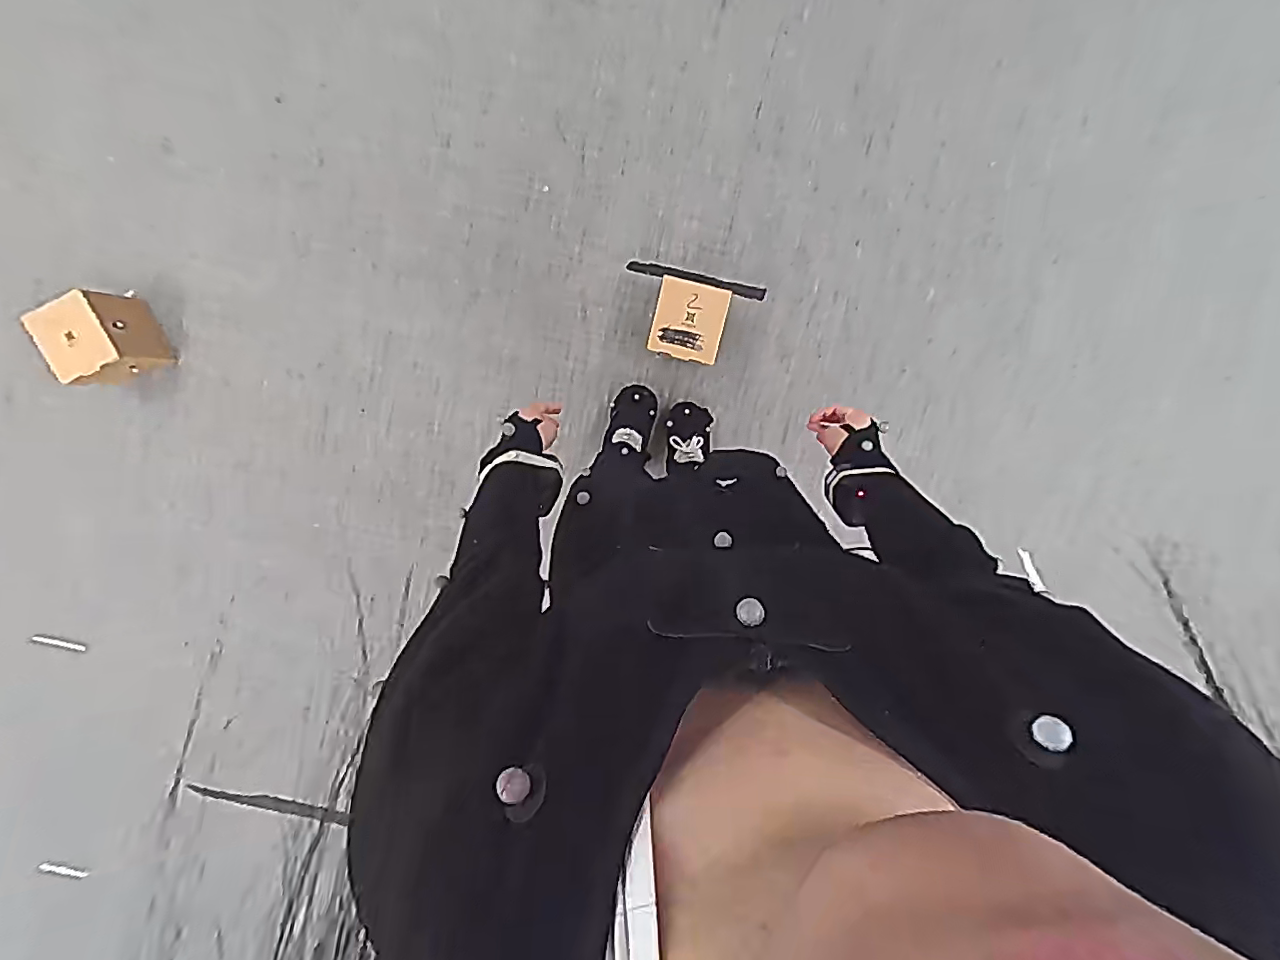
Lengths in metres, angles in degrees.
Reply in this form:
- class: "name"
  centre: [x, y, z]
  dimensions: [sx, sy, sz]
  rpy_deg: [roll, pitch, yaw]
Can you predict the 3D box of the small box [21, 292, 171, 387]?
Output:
- class: "small box"
  centre: [-1.344, -0.344, 1.352]
  dimensions: [0.168, 0.176, 0.179]
  rpy_deg: [-24, 99, 3]
